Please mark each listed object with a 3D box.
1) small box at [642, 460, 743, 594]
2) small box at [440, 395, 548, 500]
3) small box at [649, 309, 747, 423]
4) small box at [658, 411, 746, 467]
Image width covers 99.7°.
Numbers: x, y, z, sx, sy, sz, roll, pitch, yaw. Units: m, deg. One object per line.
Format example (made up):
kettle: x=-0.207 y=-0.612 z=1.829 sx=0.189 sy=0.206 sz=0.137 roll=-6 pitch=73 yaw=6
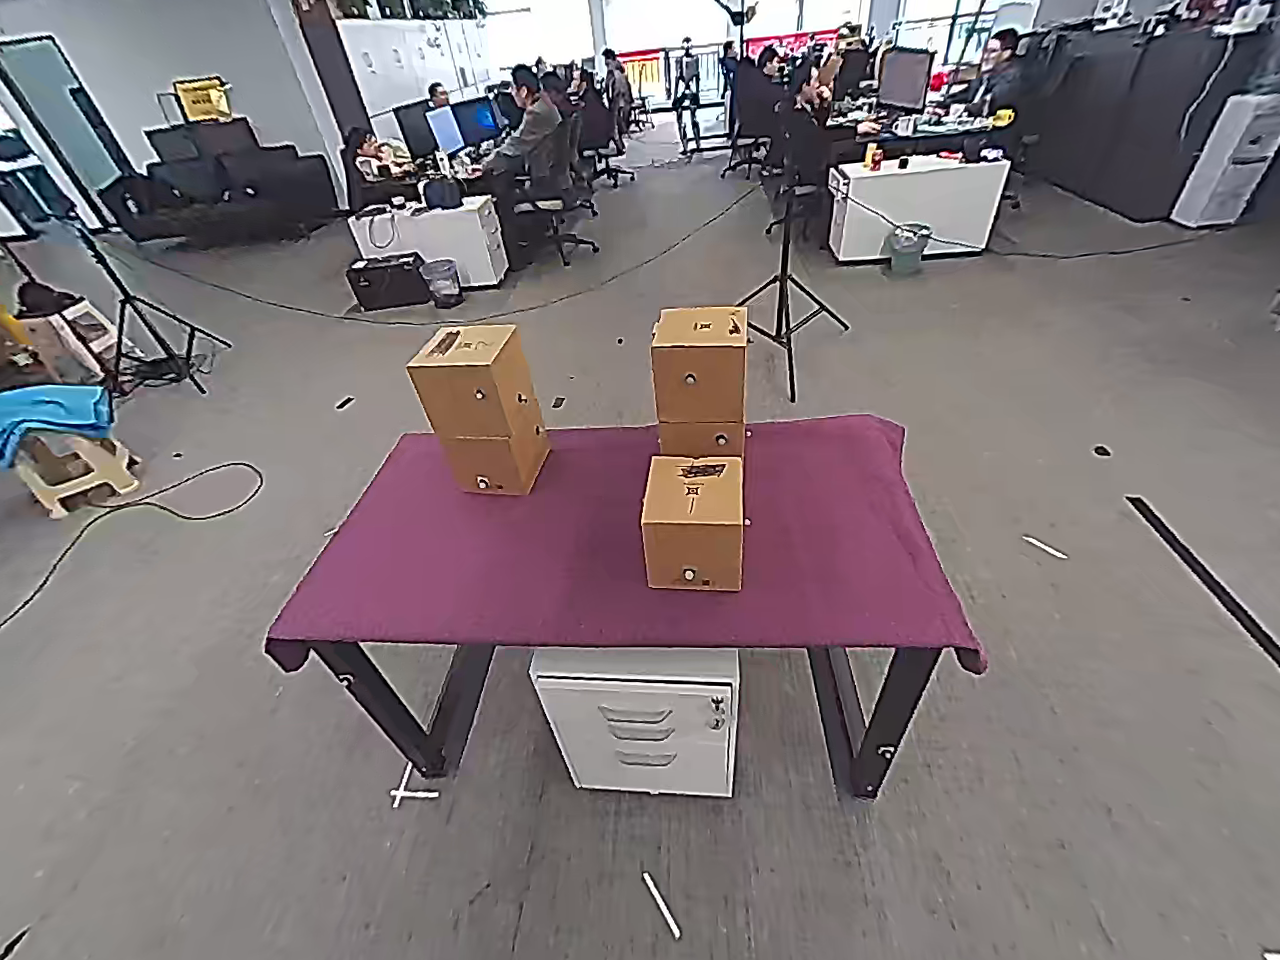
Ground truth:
small box: x=0.101 y=0.082 z=0.978 sx=0.168 sy=0.176 sz=0.179 roll=0 pitch=39 yaw=10
small box: x=-0.321 y=-0.076 z=1.235 sx=0.168 sy=0.176 sz=0.179 roll=1 pitch=43 yaw=12
small box: x=0.124 y=-0.226 z=1.088 sx=0.179 sy=0.176 sz=0.168 roll=1 pitch=42 yaw=11
small box: x=0.141 y=-0.101 z=1.192 sx=0.179 sy=0.176 sz=0.168 roll=0 pitch=41 yaw=10
